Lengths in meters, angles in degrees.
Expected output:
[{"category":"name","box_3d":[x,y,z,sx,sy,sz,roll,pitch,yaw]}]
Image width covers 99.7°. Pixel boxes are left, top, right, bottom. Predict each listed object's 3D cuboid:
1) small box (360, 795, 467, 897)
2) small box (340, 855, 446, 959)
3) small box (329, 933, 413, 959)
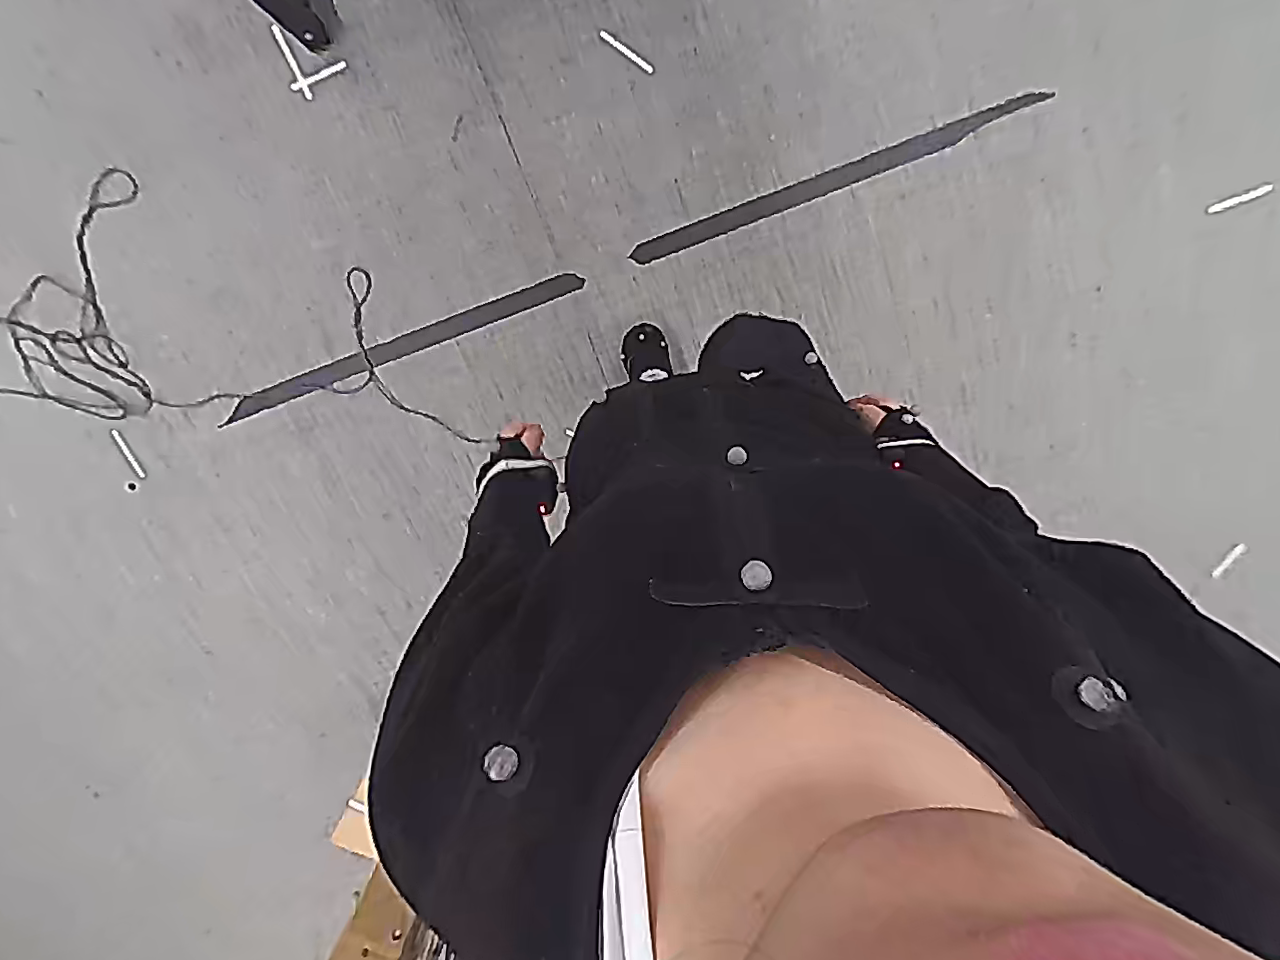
[{"category":"small box","box_3d":[-0.555,0.939,1.349,0.168,0.176,0.179,27,103,-8]},{"category":"small box","box_3d":[-0.554,0.986,1.192,0.168,0.176,0.179,27,104,-8]},{"category":"small box","box_3d":[-0.554,1.025,1.034,0.168,0.176,0.179,27,104,-8]}]
